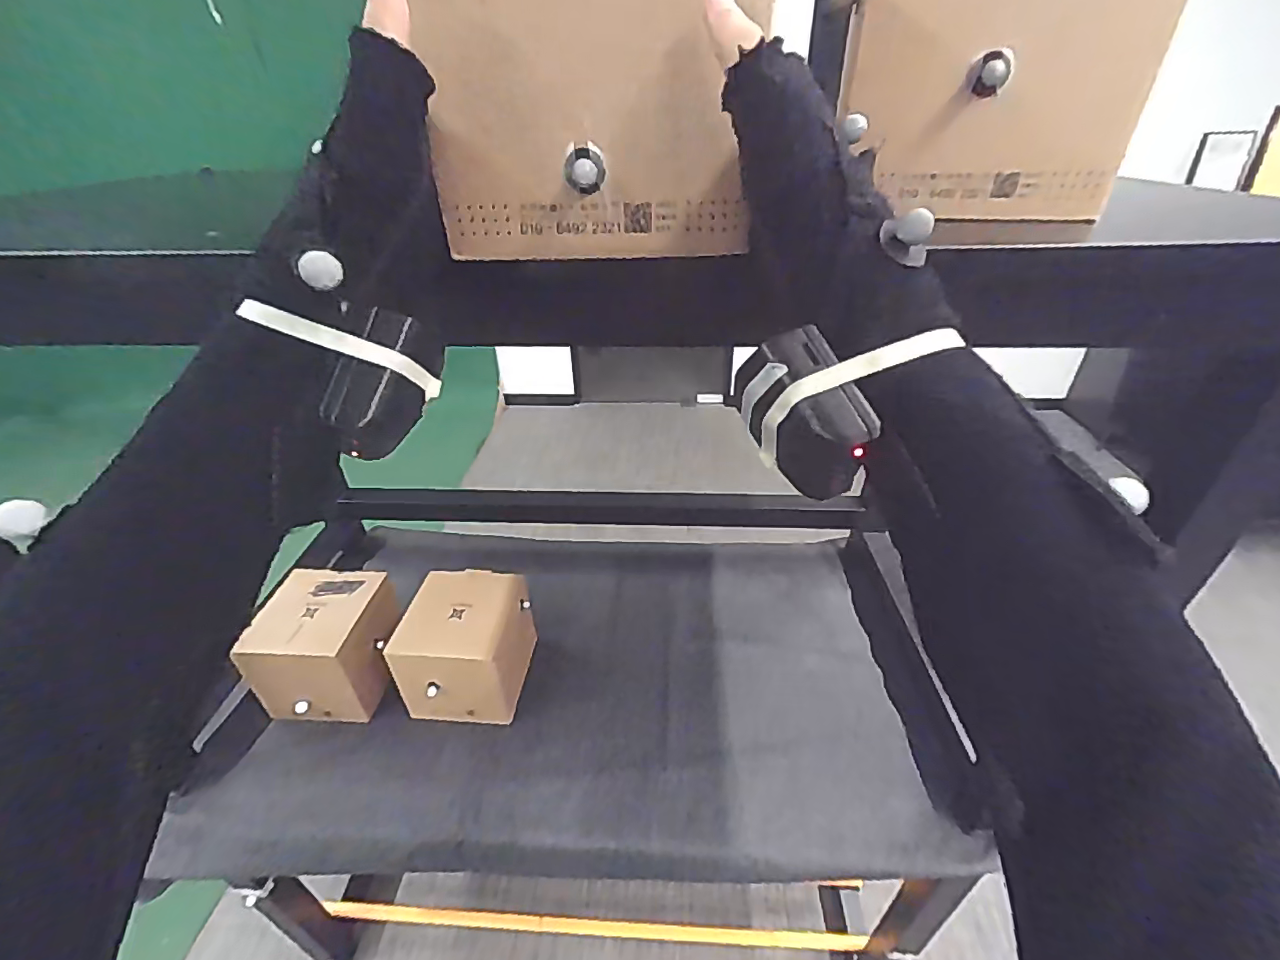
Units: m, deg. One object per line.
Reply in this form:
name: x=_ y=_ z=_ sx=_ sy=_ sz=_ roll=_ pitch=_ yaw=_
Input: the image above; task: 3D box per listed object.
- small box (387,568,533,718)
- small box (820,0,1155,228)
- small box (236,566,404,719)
small box: x=-0.282 y=0.269 z=0.896 sx=0.168 sy=0.176 sz=0.179 roll=2 pitch=34 yaw=4
small box: x=0.232 y=-0.289 z=0.398 sx=0.168 sy=0.176 sz=0.179 roll=7 pitch=34 yaw=13
small box: x=-0.509 y=0.267 z=0.900 sx=0.168 sy=0.176 sz=0.179 roll=1 pitch=34 yaw=3
